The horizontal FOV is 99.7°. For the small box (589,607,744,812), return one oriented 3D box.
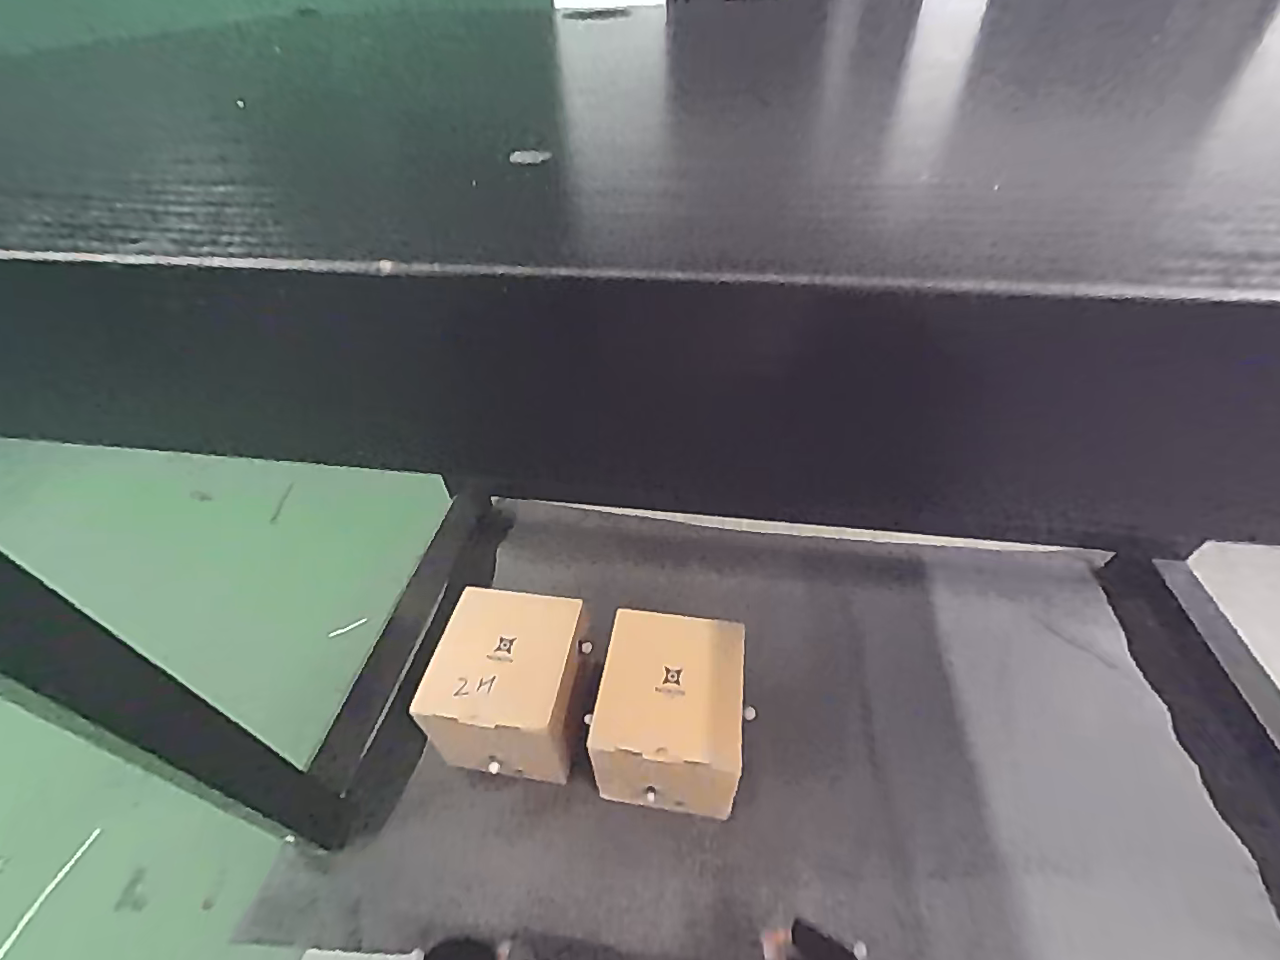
[{"bbox_3d":[0.038,0.290,0.689,0.168,0.176,0.179,5,44,8],"label":"small box"}]

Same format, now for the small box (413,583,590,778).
[{"bbox_3d":[-0.166,0.265,0.720,0.168,0.176,0.179,5,44,8],"label":"small box"}]
